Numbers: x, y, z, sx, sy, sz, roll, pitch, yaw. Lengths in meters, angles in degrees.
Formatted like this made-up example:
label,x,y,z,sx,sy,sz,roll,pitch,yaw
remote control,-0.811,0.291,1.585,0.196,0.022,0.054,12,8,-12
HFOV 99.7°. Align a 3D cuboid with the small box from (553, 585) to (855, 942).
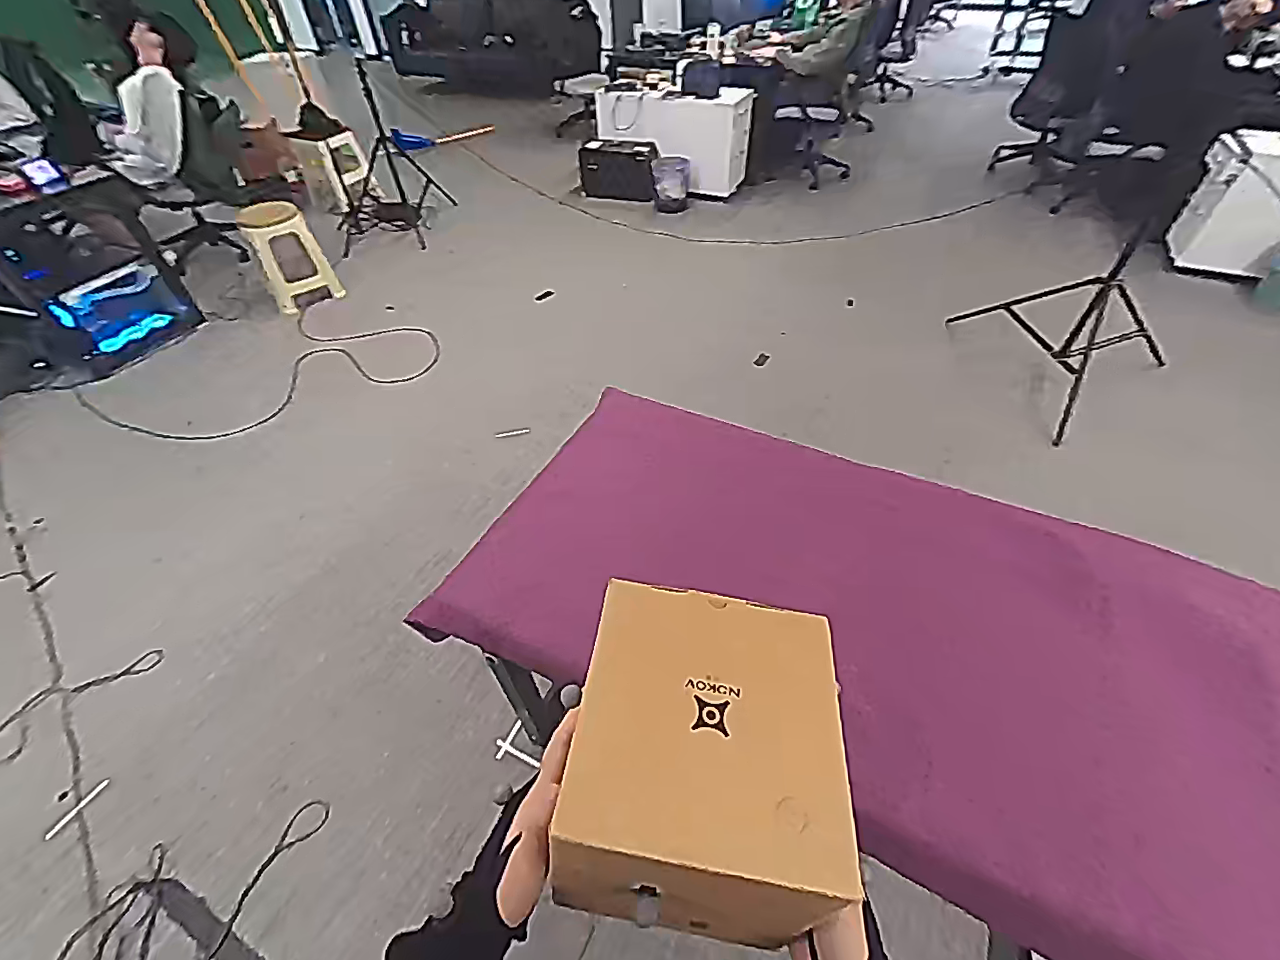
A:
label,x,y,z,sx,sy,sz,roll,pitch,yaw
small box,0.039,0.208,0.401,0.168,0.176,0.179,9,41,2
